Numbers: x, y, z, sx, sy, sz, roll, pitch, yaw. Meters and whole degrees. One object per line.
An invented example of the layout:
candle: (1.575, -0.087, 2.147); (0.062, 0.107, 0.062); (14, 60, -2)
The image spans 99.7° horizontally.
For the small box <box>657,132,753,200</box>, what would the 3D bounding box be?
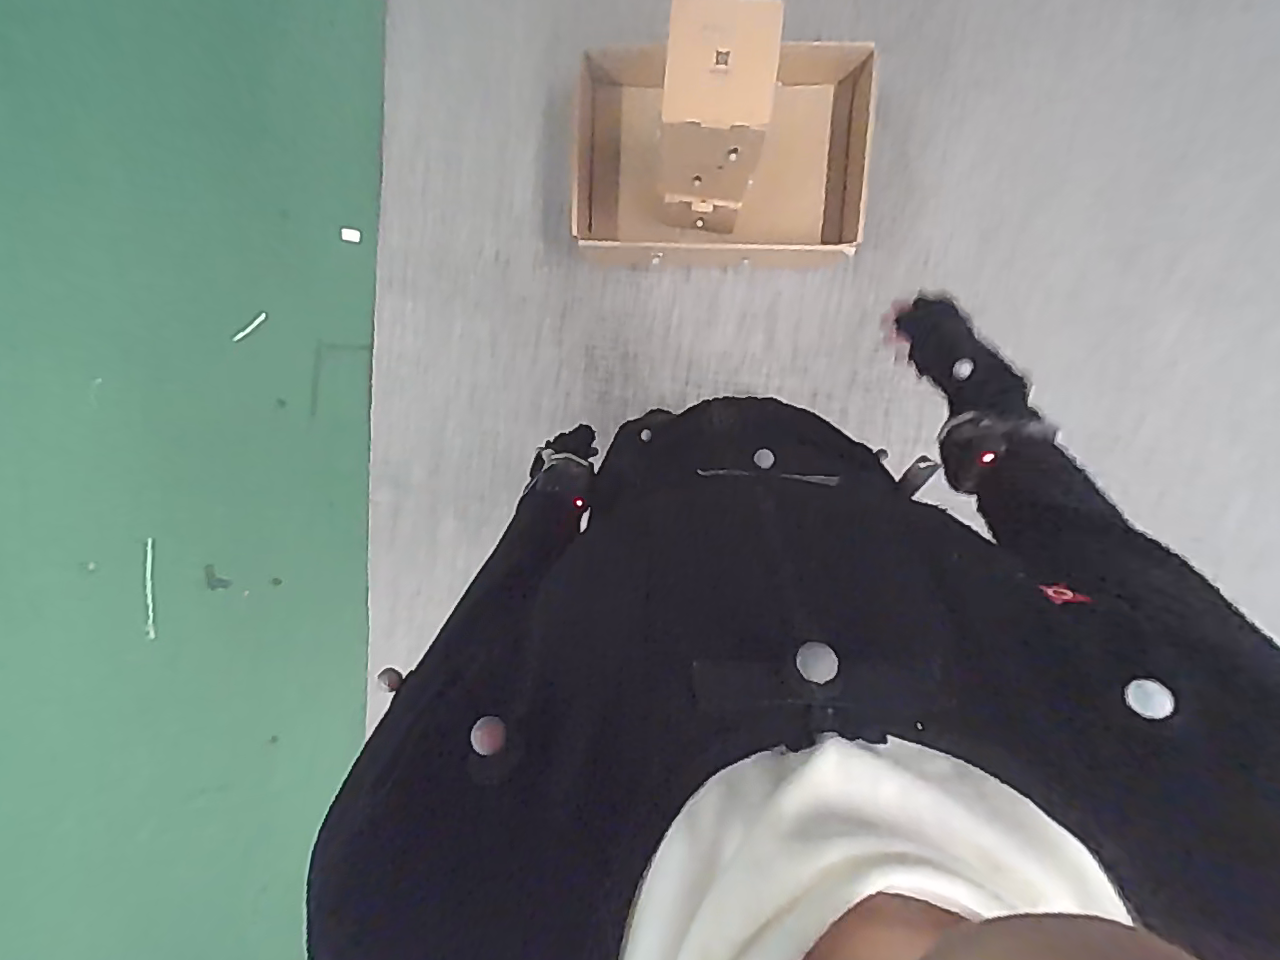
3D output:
small box: (0.135, -0.655, 1.028); (0.179, 0.176, 0.168); (12, 98, 3)

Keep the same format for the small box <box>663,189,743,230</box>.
small box: (0.148, -0.669, 1.192); (0.168, 0.176, 0.179); (9, 100, 2)

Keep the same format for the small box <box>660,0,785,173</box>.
small box: (0.124, -0.622, 0.870); (0.168, 0.176, 0.179); (6, 97, 1)
